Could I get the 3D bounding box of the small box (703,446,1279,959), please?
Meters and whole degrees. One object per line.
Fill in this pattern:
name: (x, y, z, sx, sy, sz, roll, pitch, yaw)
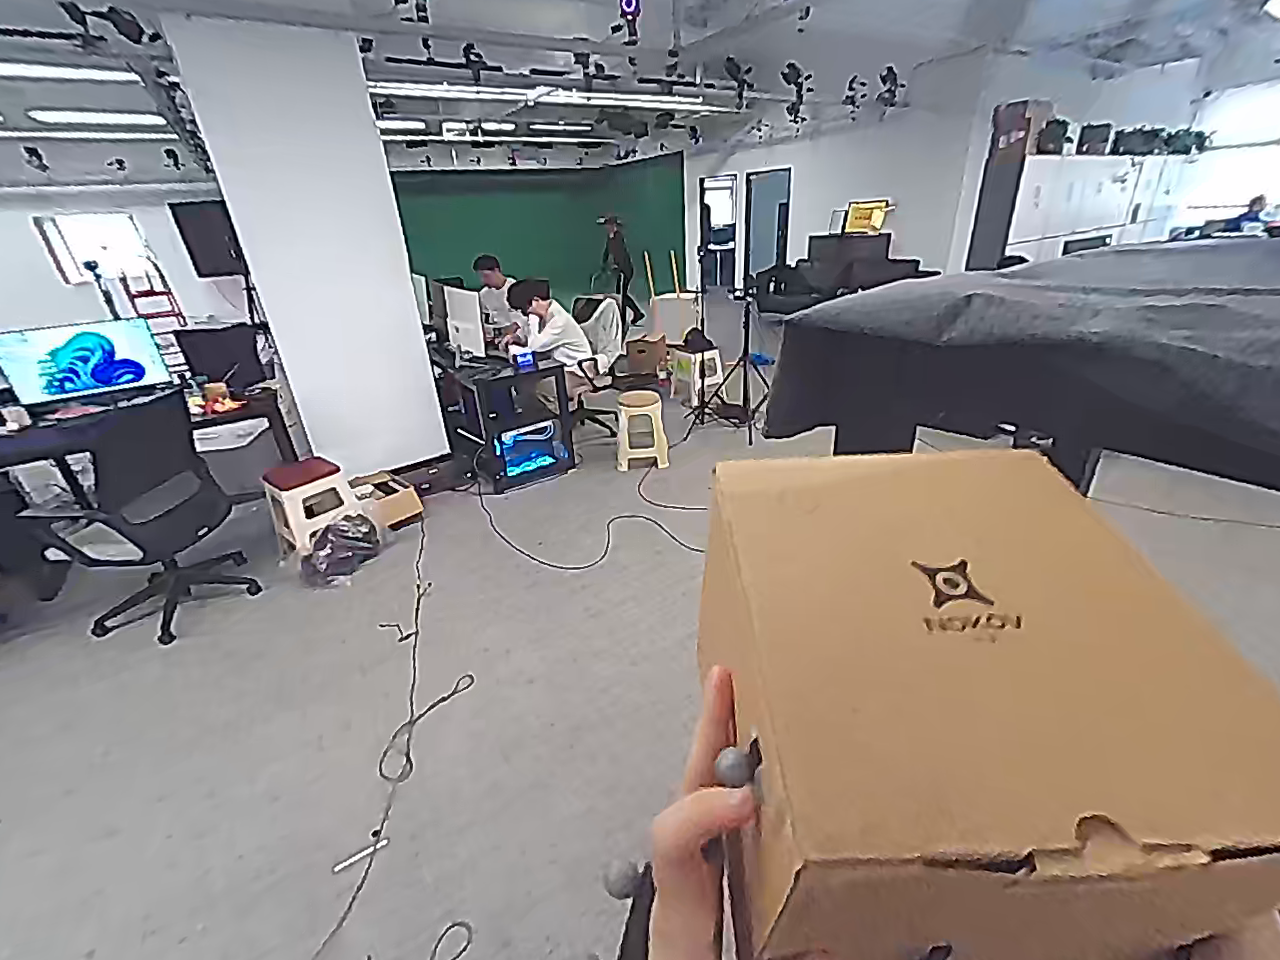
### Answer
small box: (0.122, 0.102, 0.252, 0.168, 0.176, 0.179, -3, 39, 0)
